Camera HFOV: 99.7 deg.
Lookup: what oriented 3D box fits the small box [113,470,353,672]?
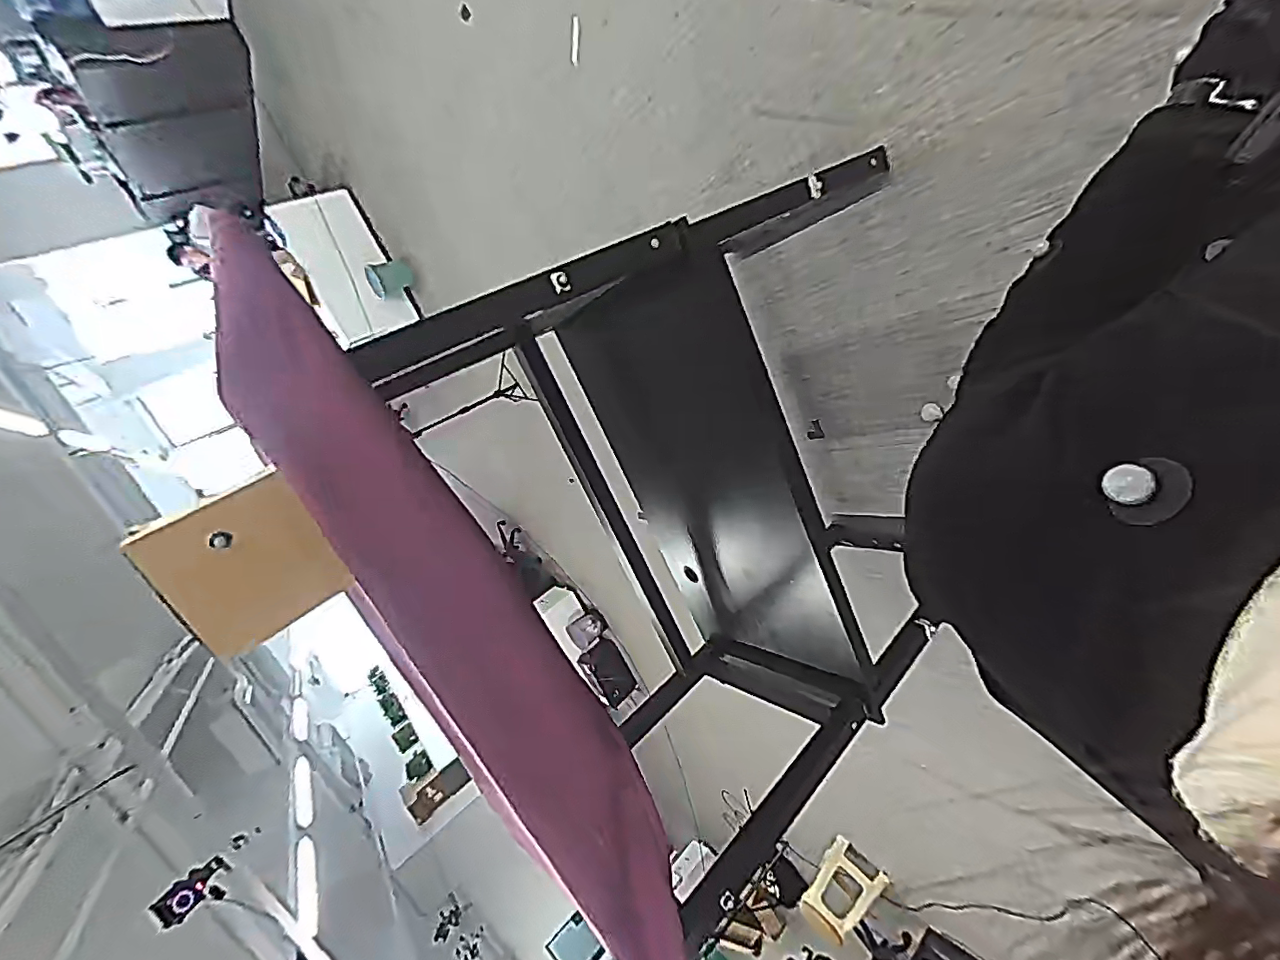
[{"bbox_3d":[-0.507,0.101,0.696,0.168,0.176,0.179,8,127,54],"label":"small box"}]
